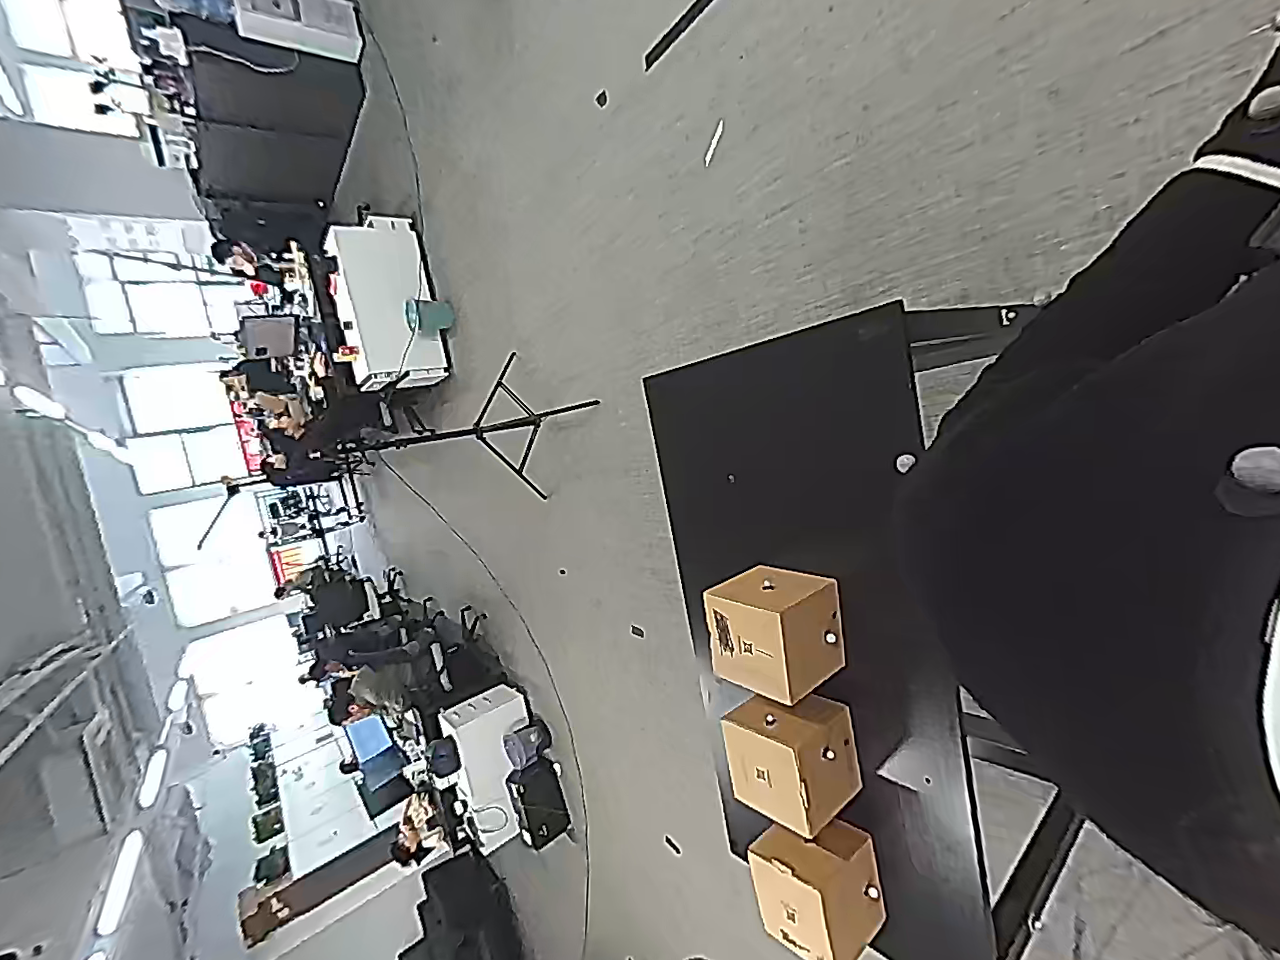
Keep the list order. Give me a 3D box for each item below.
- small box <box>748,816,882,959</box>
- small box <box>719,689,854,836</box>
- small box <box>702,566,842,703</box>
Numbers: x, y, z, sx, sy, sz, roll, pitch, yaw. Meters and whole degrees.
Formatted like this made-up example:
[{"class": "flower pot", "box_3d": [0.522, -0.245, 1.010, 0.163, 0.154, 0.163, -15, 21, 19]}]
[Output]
[{"class": "small box", "box_3d": [0.334, 0.764, 1.031, 0.168, 0.176, 0.179, -8, 95, 53]}, {"class": "small box", "box_3d": [0.280, 0.508, 1.014, 0.179, 0.176, 0.168, -5, 97, 54]}, {"class": "small box", "box_3d": [0.238, 0.265, 0.978, 0.179, 0.176, 0.168, 2, 104, 51]}]
